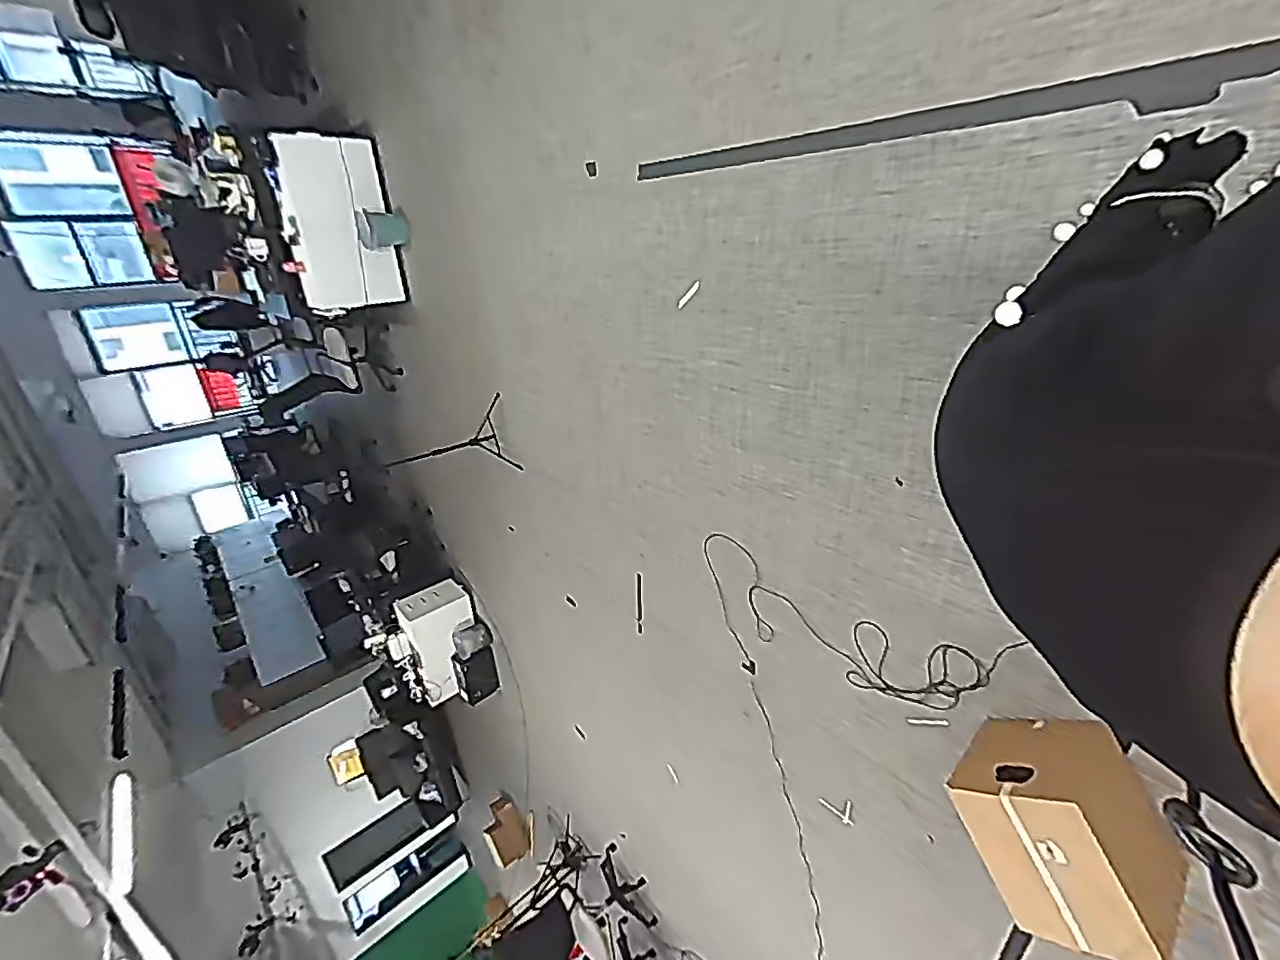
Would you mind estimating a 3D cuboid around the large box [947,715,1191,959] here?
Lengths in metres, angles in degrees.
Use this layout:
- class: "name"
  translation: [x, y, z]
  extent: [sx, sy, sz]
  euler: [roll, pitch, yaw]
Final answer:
- class: "large box"
  translation: [1.094, 0.875, 1.390]
  extent: [0.320, 0.320, 0.408]
  euler: [-34, 81, 53]
